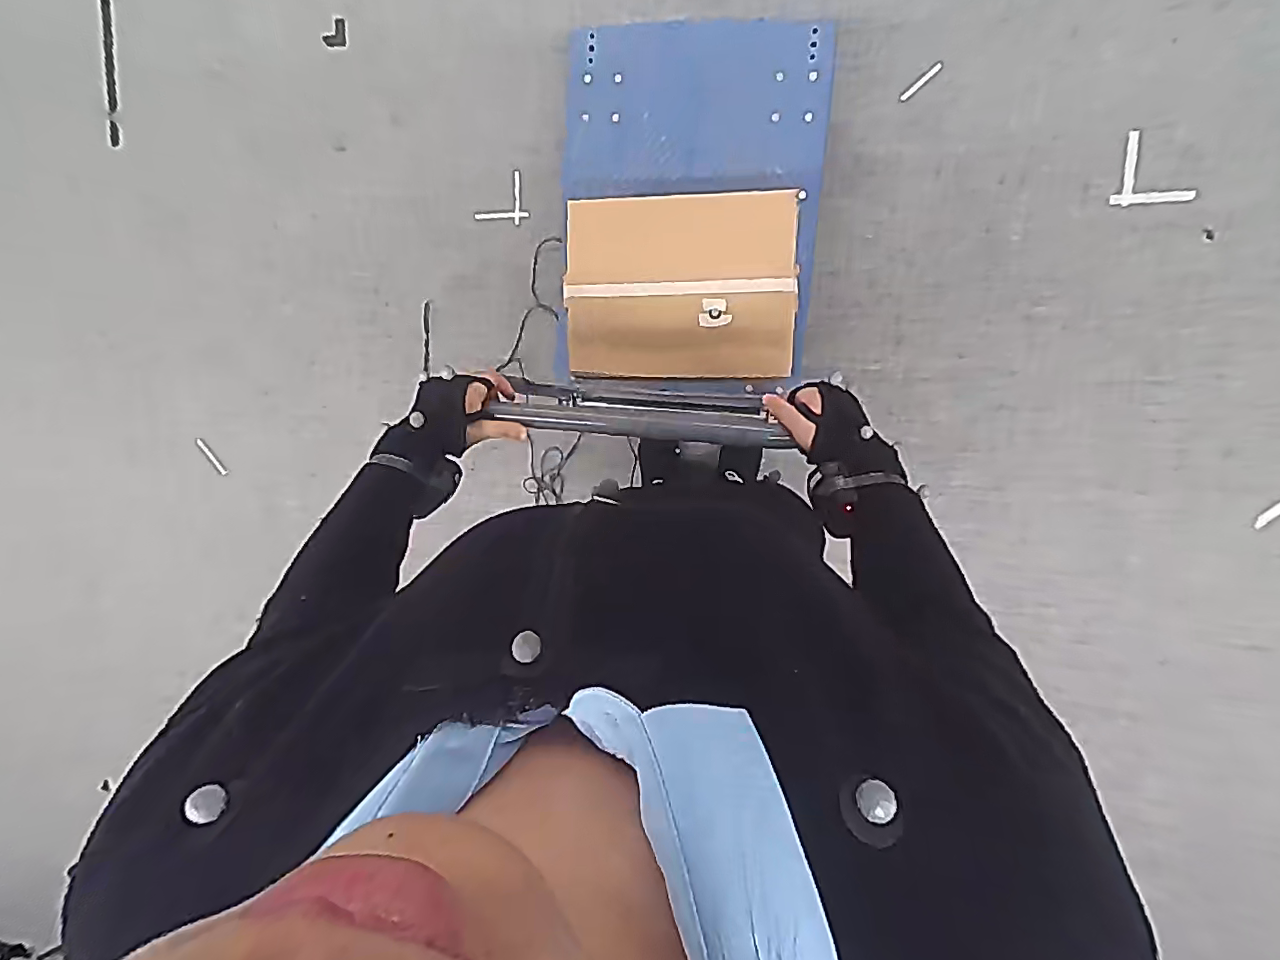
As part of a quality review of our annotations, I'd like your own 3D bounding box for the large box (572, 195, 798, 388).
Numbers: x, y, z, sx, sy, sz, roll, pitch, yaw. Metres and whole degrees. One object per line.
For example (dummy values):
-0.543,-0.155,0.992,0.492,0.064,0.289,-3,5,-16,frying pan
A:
0.092,-0.356,1.113,0.408,0.320,0.320,1,99,7,large box
